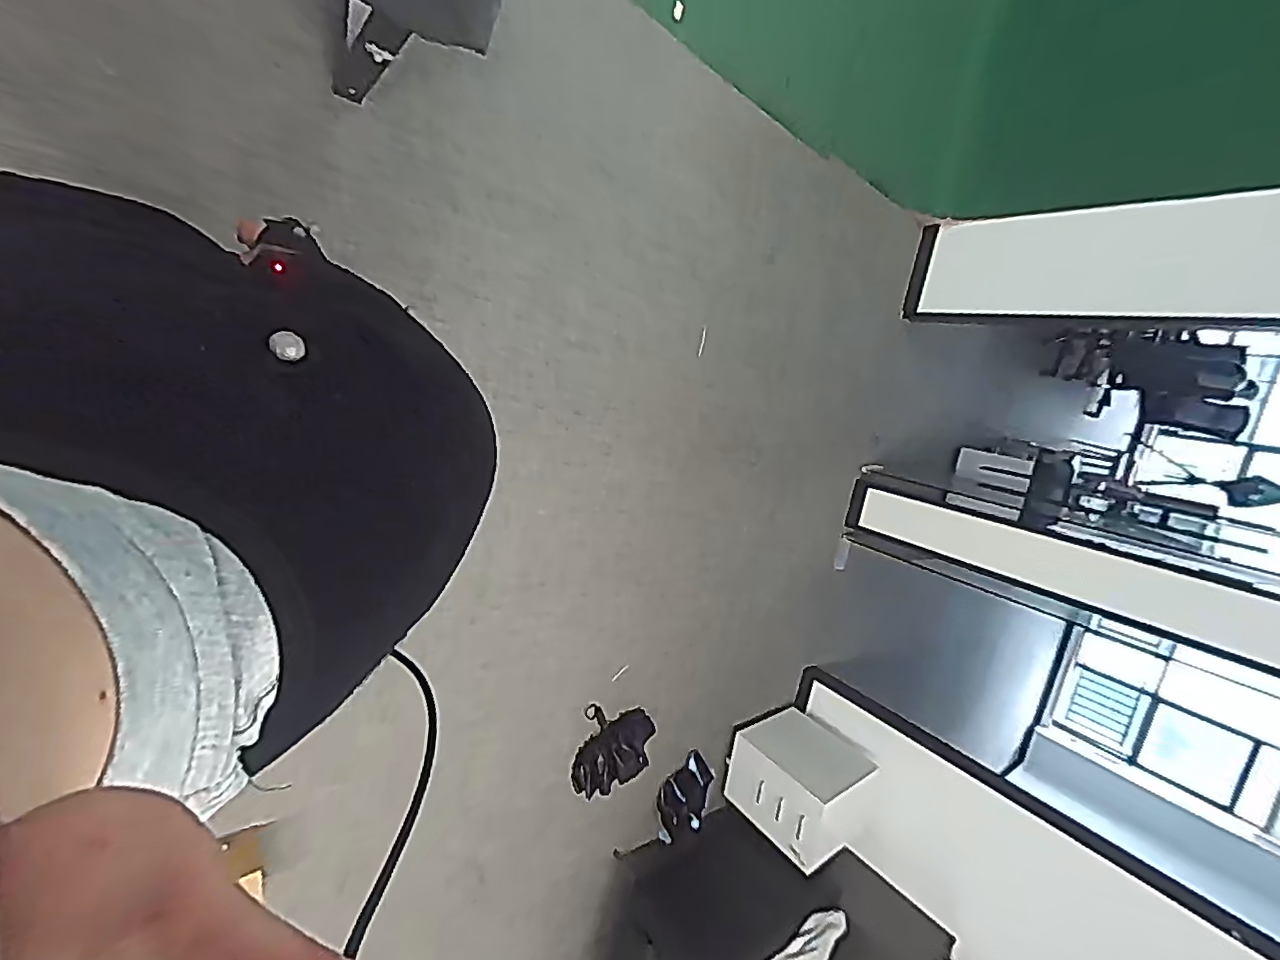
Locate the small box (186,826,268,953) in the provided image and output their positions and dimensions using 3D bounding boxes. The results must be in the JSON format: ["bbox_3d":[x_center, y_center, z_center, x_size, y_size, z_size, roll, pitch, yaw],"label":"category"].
[{"bbox_3d":[-1.107,1.087,1.452,0.168,0.176,0.179,-5,107,-39],"label":"small box"}]
